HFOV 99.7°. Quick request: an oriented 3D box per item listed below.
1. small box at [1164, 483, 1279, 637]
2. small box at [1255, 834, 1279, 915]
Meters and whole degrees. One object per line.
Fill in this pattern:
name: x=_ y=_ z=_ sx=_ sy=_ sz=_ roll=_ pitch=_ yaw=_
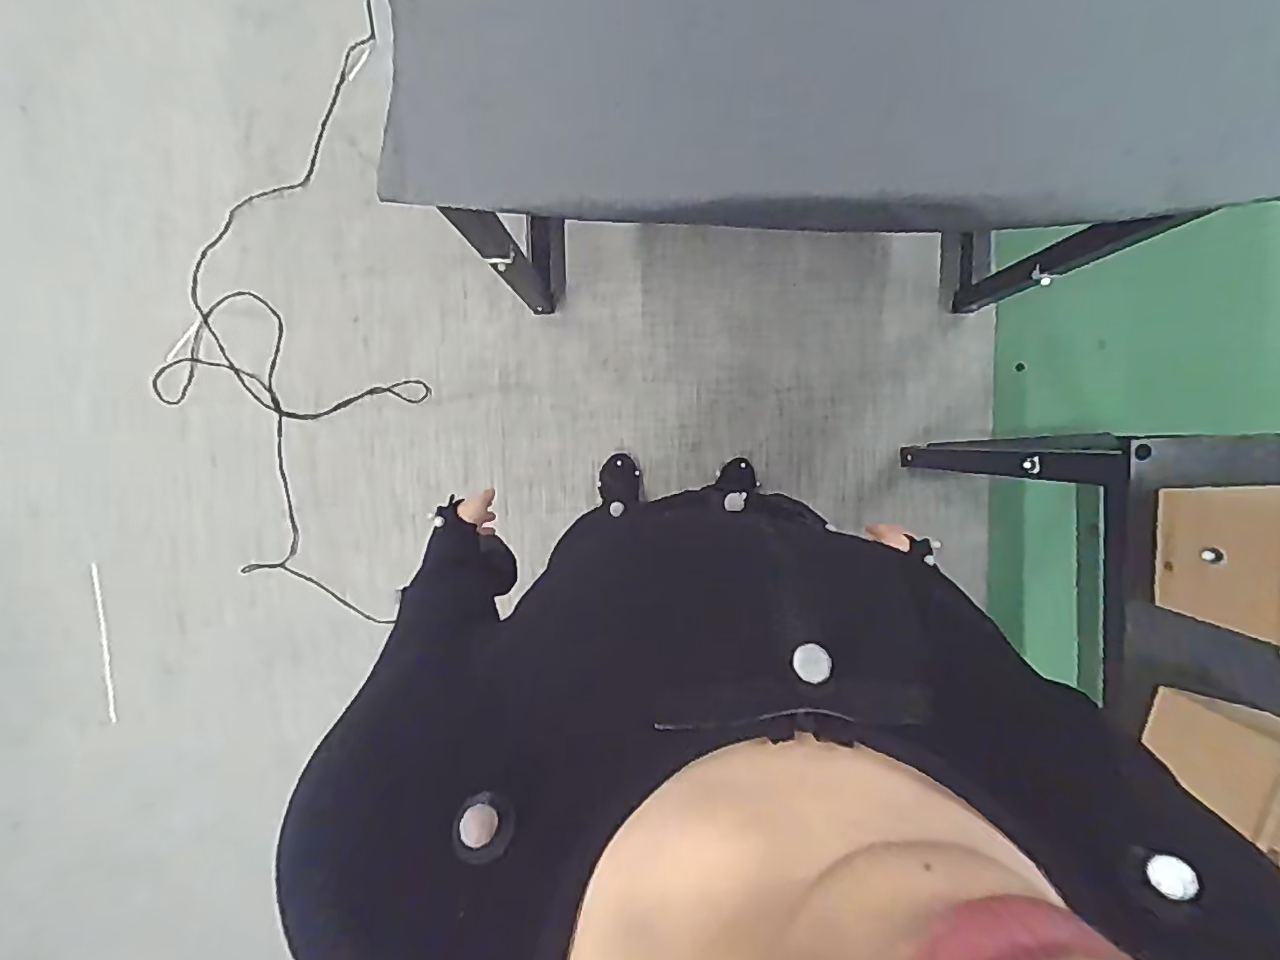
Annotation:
small box: x=0.799 y=0.094 z=0.657 sx=0.179 sy=0.176 sz=0.168 roll=-2 pitch=95 yaw=2
small box: x=0.779 y=0.417 z=0.517 sx=0.179 sy=0.176 sz=0.168 roll=16 pitch=95 yaw=0
